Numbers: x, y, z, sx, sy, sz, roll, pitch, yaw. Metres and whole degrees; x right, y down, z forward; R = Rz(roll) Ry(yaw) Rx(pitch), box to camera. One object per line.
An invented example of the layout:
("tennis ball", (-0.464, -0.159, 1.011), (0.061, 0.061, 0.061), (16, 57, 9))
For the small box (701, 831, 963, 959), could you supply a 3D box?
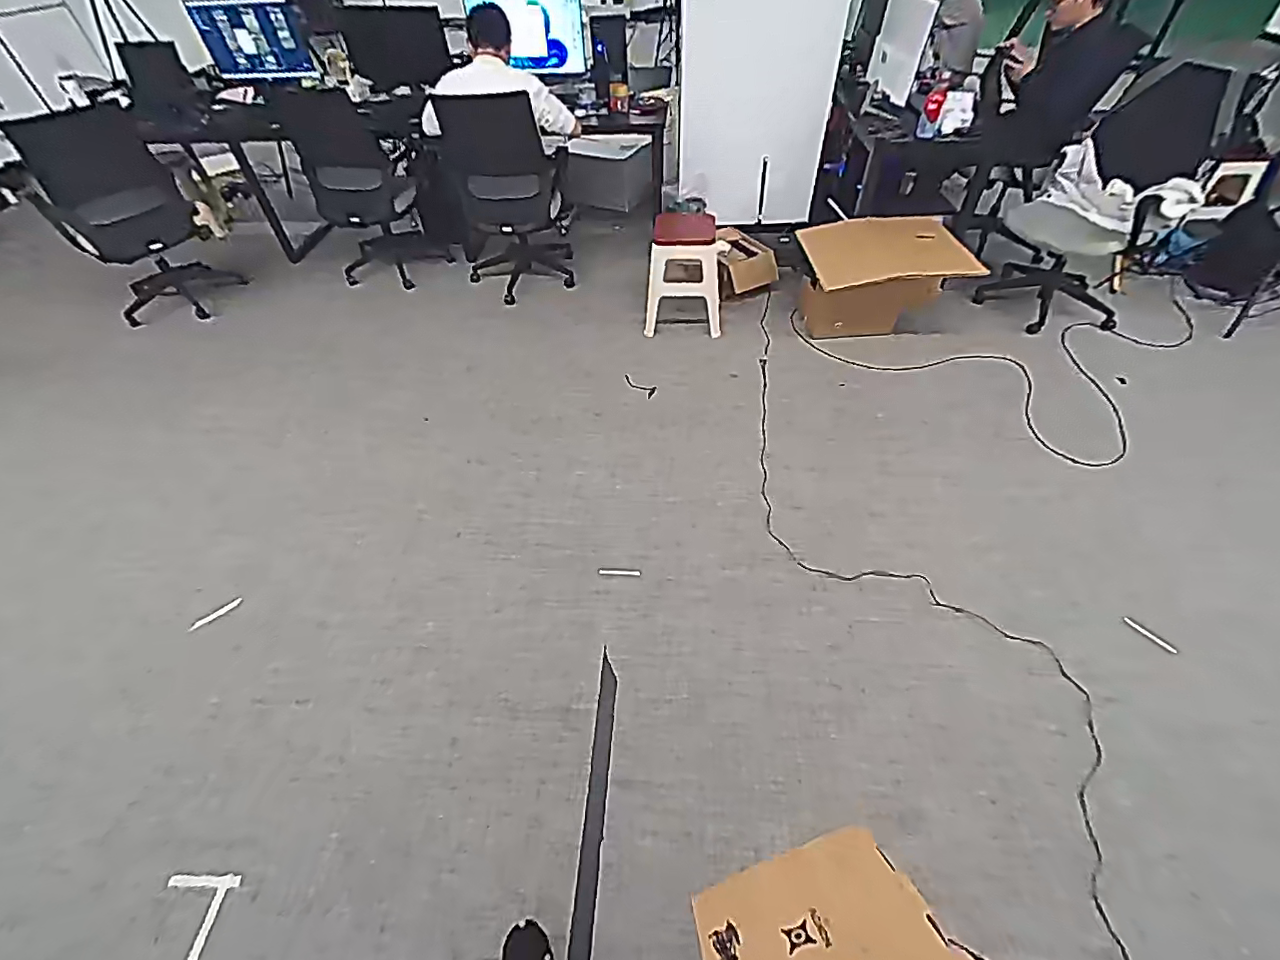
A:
("small box", (0.168, 0.441, 0.435), (0.179, 0.168, 0.176), (-20, 90, -3))
